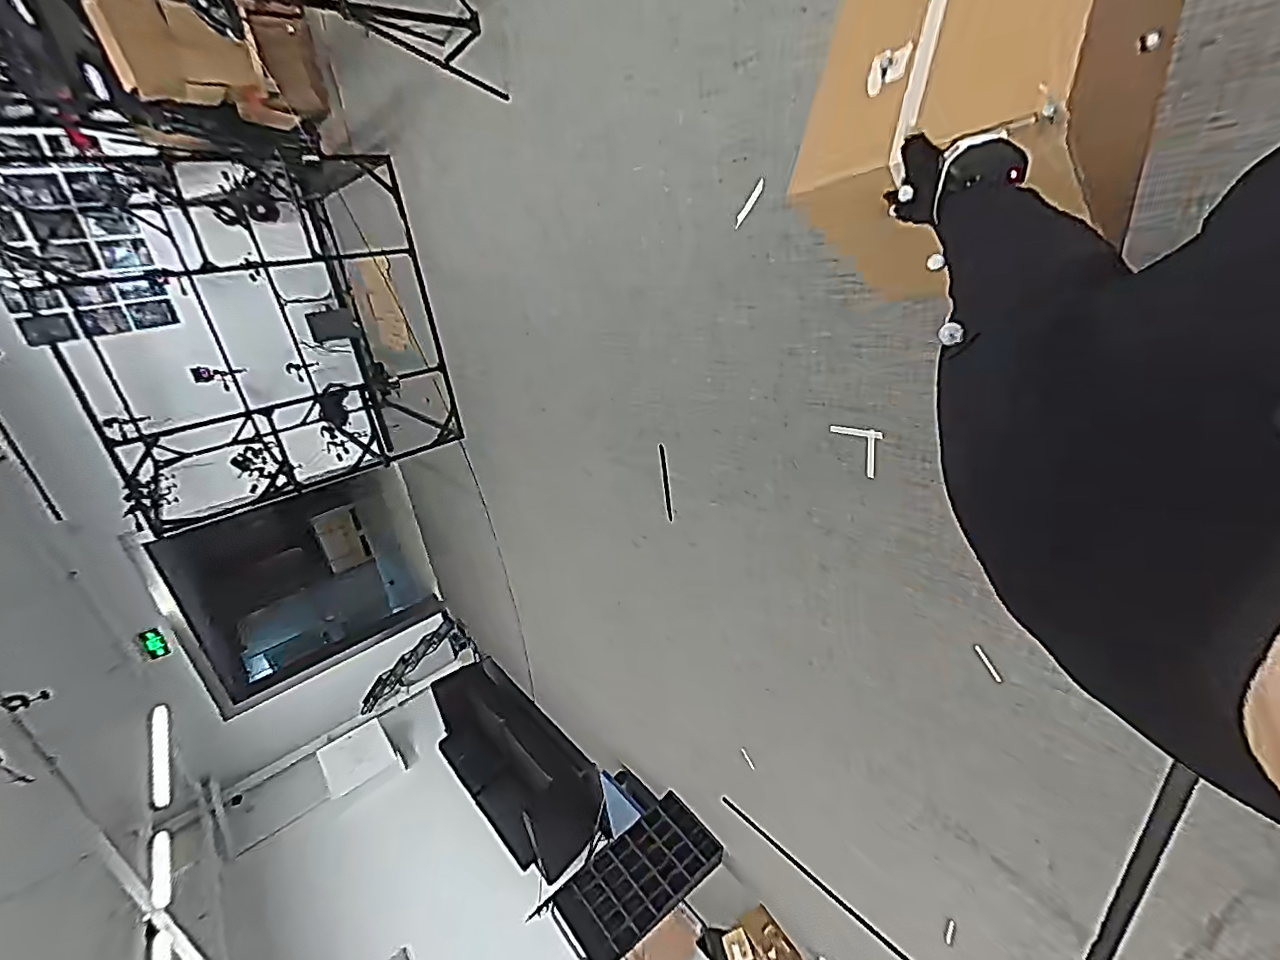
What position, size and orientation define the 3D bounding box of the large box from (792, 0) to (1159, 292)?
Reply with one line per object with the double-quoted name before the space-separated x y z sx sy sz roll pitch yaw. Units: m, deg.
"large box" 0.459 -0.530 0.738 0.320 0.320 0.408 10 85 51
